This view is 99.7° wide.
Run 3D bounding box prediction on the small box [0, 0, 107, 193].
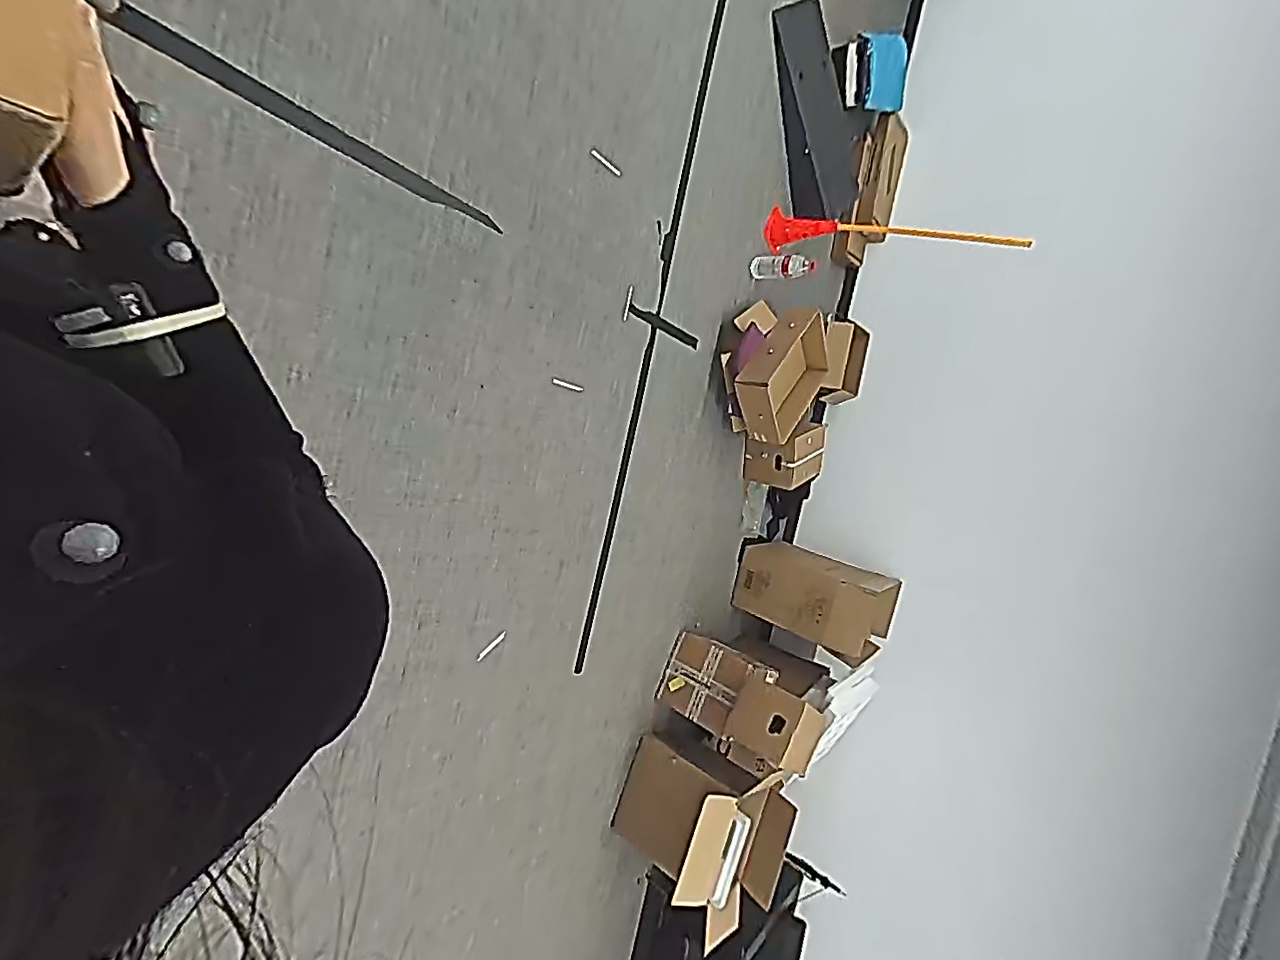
[{"bbox_3d":[-0.338,-0.246,0.212,0.168,0.176,0.179,3,95,-54],"label":"small box"}]
